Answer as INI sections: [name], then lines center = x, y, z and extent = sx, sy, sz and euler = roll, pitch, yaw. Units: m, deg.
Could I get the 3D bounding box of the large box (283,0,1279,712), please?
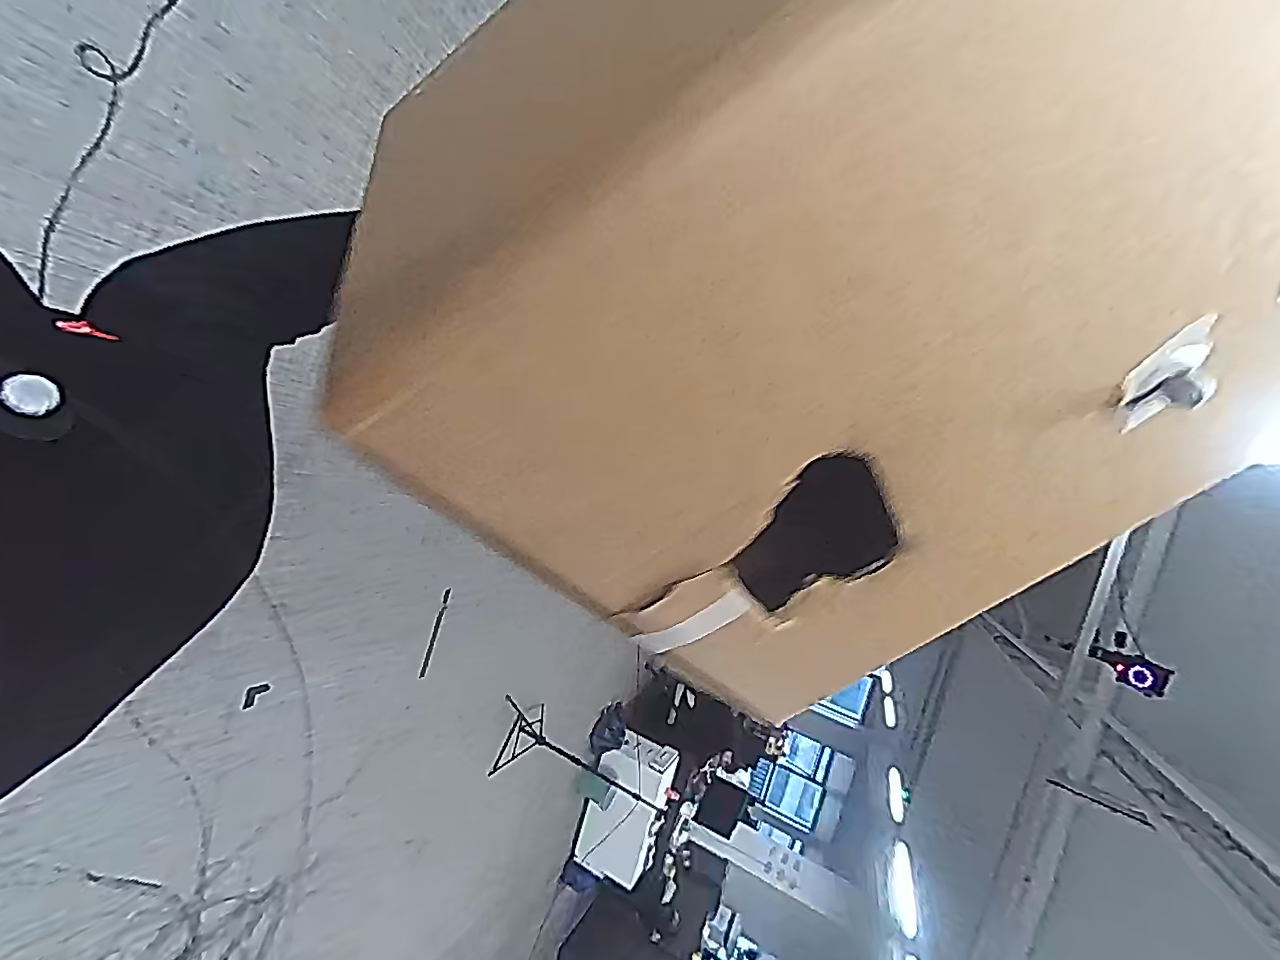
[large box]
center = 0.061, -0.142, 0.346
extent = 0.320, 0.408, 0.320
euler = -32, 134, 11
